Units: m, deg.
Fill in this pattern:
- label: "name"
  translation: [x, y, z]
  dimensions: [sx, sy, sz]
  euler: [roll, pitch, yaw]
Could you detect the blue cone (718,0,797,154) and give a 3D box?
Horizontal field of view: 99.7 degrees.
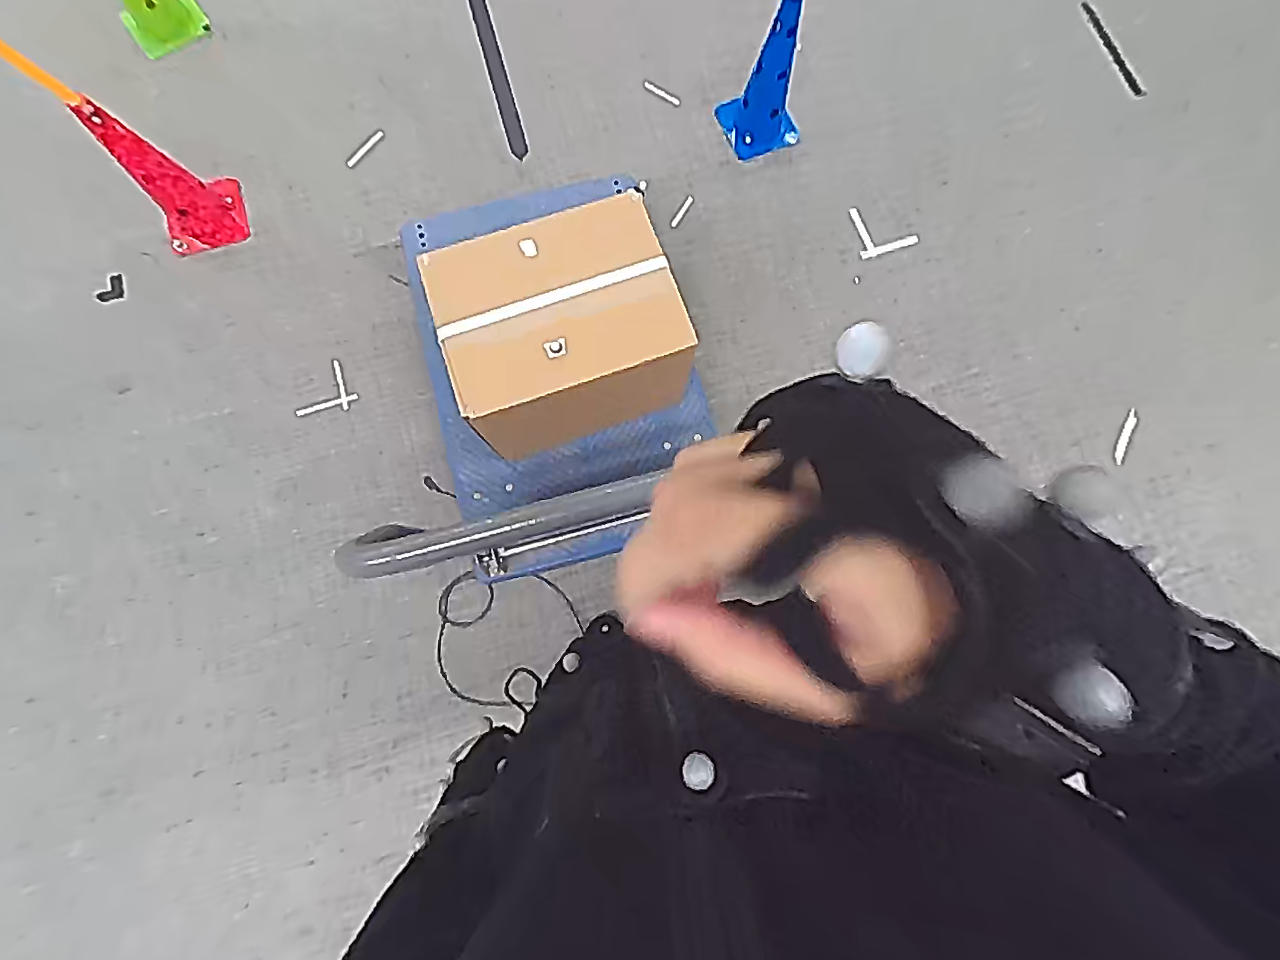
- label: "blue cone"
  translation: [0.343, -1.070, 1.403]
  dimensions: [0.193, 0.380, 0.192]
  euler: [-20, 79, -6]
